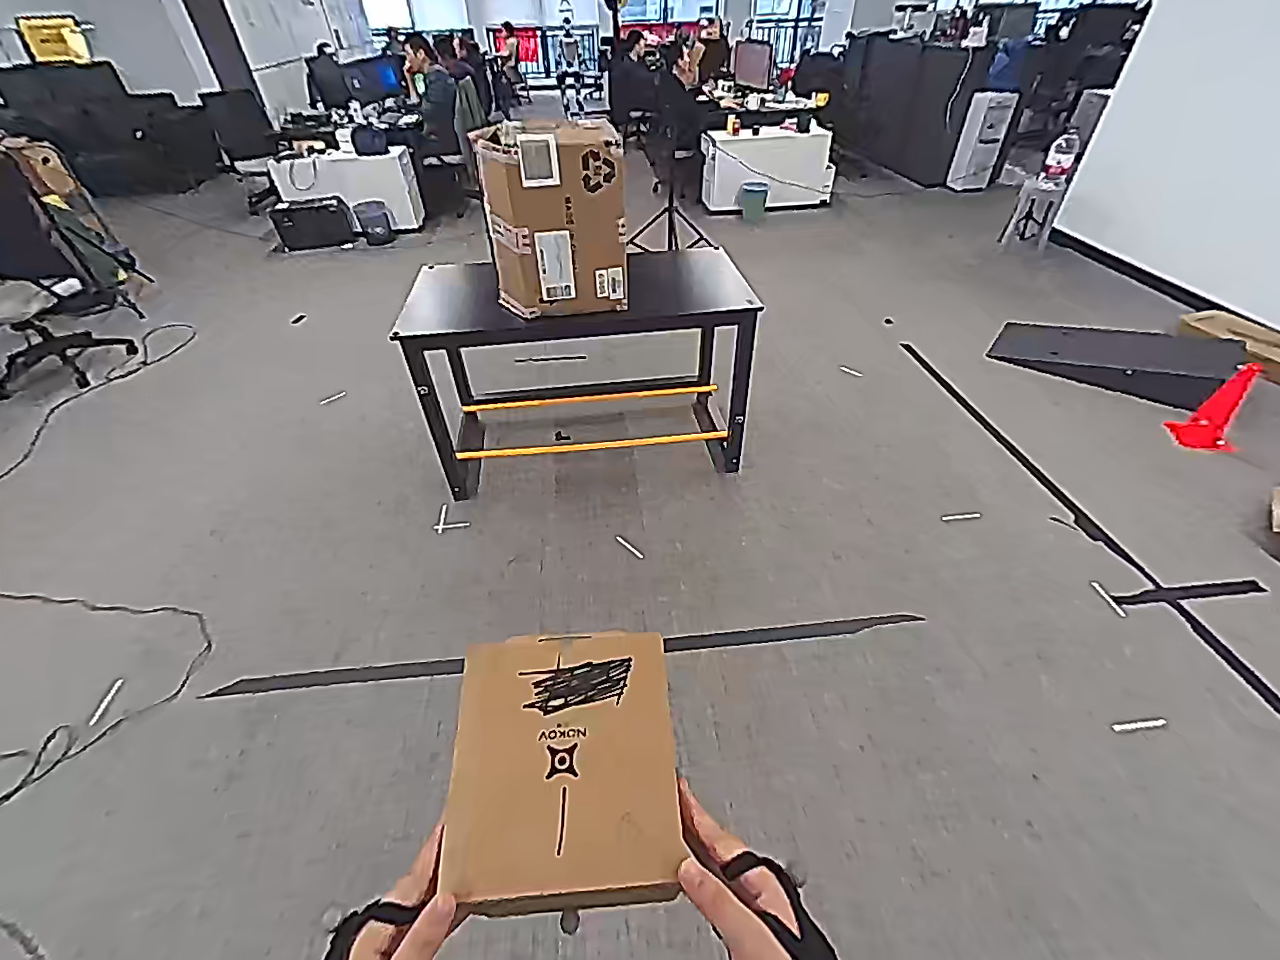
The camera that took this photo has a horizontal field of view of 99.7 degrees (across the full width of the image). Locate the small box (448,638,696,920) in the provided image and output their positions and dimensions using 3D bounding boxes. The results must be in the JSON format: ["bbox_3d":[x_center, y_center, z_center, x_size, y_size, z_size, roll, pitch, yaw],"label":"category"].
[{"bbox_3d":[-0.050,0.257,0.467,0.168,0.176,0.179,-3,49,-3],"label":"small box"}]
